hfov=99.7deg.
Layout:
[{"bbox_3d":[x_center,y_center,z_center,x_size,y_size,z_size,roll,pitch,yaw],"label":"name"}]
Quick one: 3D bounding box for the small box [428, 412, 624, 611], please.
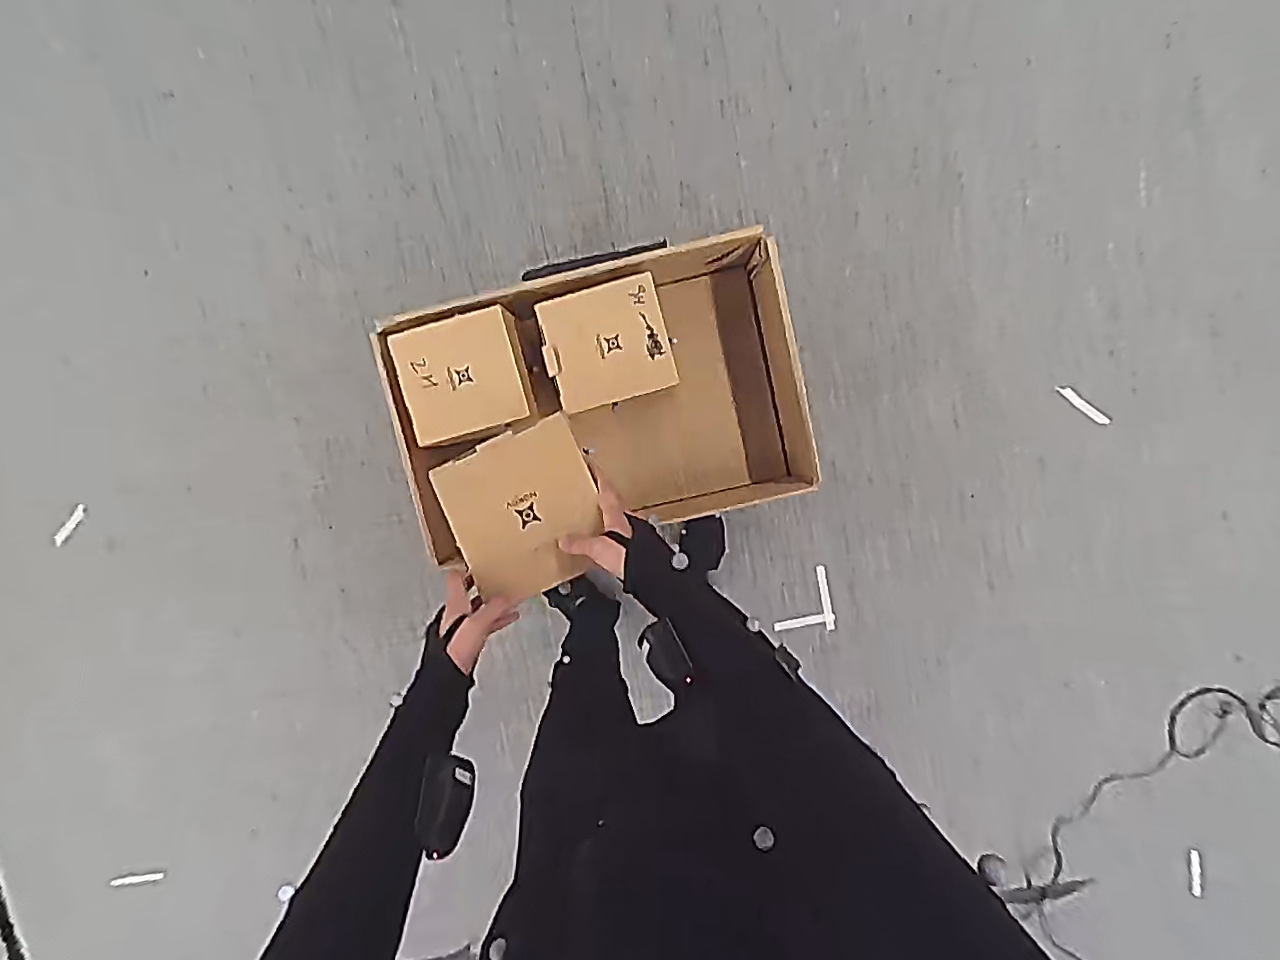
[{"bbox_3d":[-0.128,0.041,0.672,0.168,0.176,0.179,-25,86,-2],"label":"small box"}]
